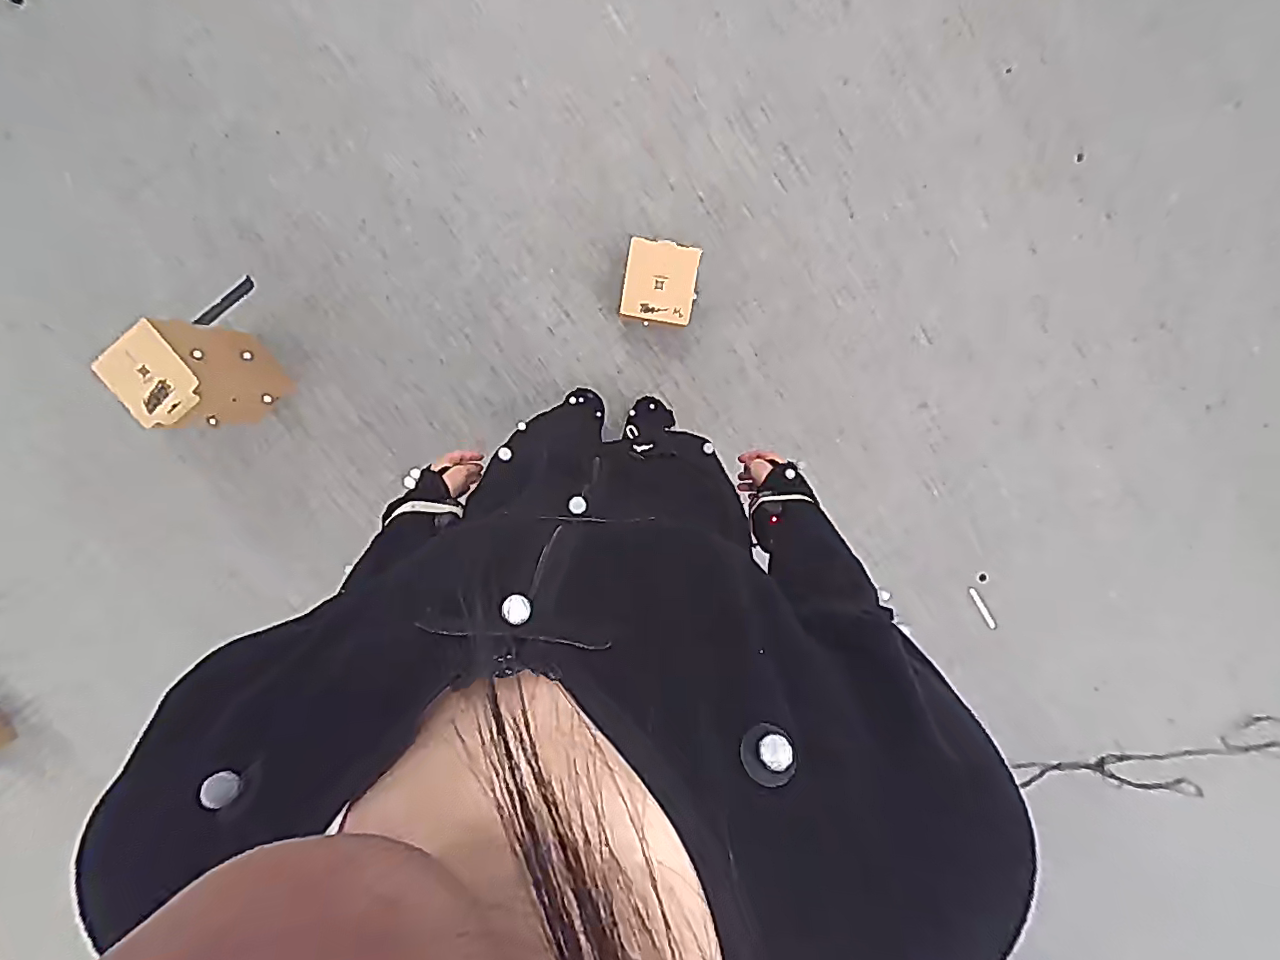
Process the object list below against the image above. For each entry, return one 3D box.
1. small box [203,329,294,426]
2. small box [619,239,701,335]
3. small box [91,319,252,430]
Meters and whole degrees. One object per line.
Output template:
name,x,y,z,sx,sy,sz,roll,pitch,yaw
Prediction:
small box,-1.038,-0.259,1.376,0.168,0.176,0.179,-38,96,5
small box,0.044,-0.468,1.333,0.168,0.176,0.179,10,99,-2
small box,-1.034,-0.234,1.213,0.168,0.176,0.179,-37,97,6
